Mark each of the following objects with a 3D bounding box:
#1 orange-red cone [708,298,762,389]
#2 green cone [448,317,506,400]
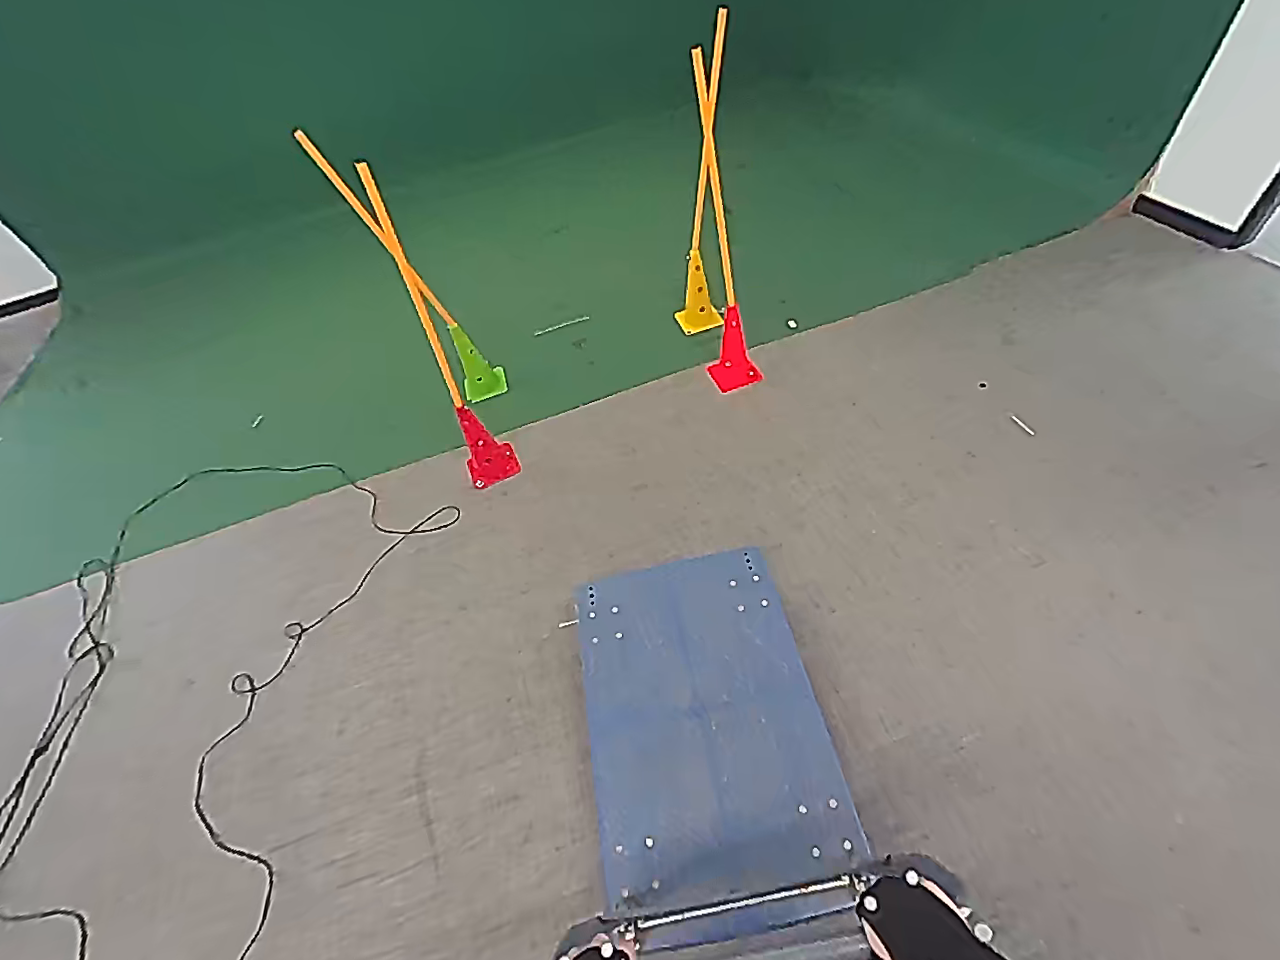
[{"bbox_3d":[0.390,-0.589,2.251,0.198,0.360,0.199,-19,49,-5],"label":"orange-red cone"},{"bbox_3d":[-0.778,-0.581,2.479,0.200,0.368,0.202,-20,49,-4],"label":"green cone"}]
